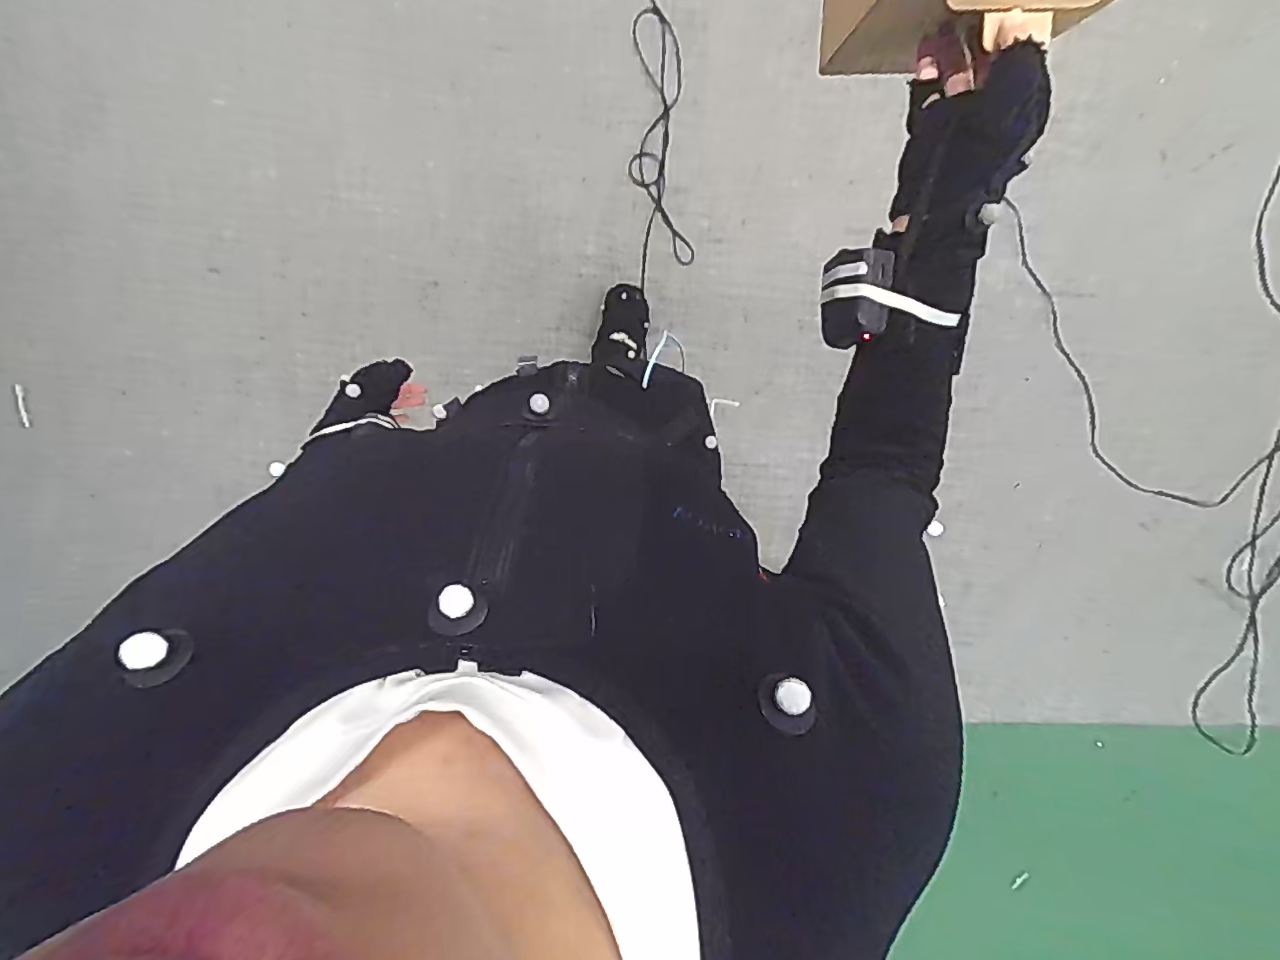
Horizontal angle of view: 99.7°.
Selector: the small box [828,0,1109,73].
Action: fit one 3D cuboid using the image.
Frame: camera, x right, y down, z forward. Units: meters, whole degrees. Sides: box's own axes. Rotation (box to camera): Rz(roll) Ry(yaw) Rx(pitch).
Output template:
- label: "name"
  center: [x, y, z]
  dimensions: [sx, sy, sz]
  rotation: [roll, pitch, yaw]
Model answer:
- label: "small box"
  center: [0.243, -0.422, 0.379]
  dimensions: [0.168, 0.176, 0.179]
  rotation: [-1, 109, 1]
